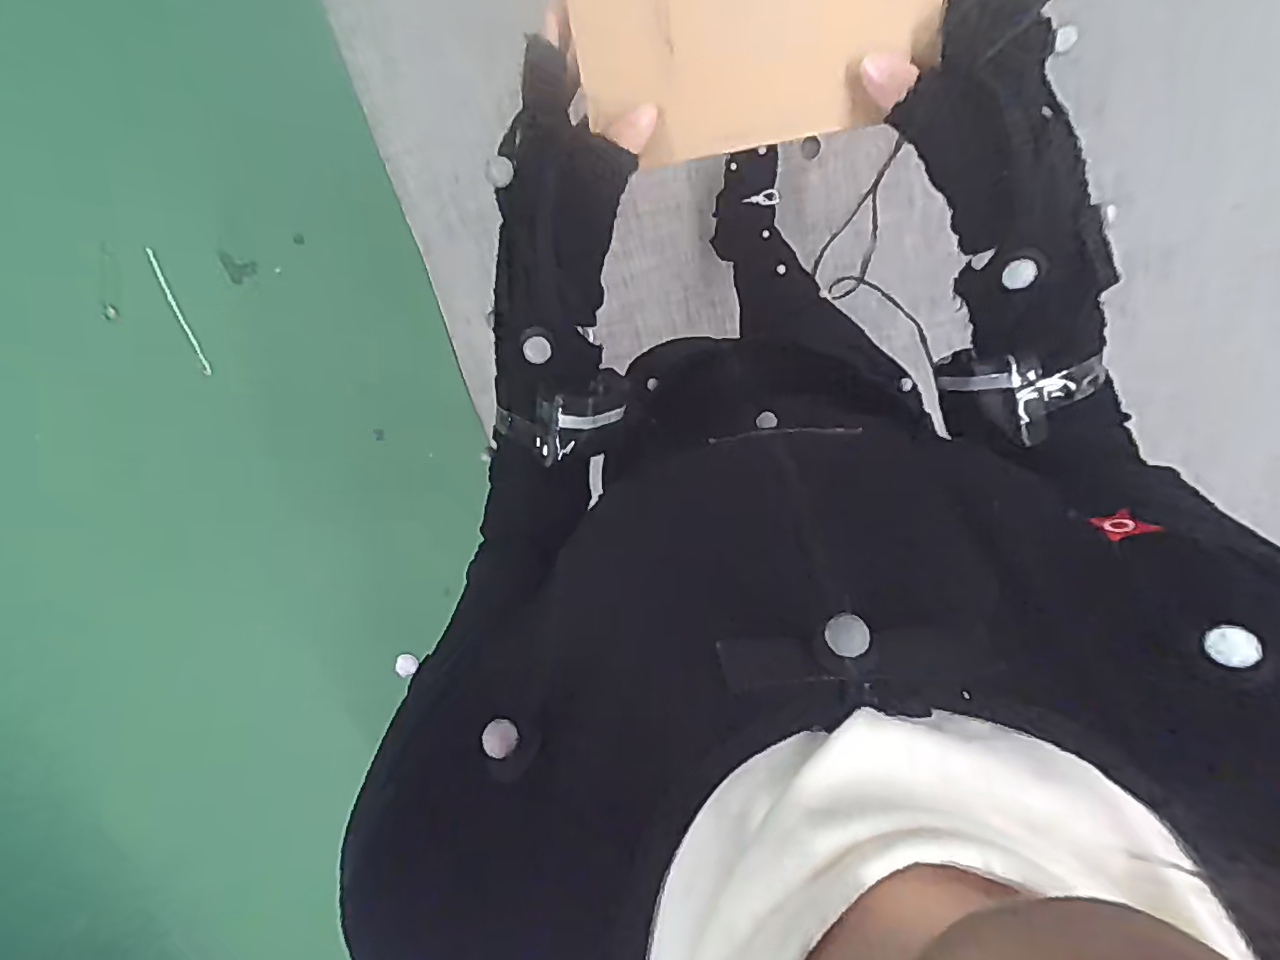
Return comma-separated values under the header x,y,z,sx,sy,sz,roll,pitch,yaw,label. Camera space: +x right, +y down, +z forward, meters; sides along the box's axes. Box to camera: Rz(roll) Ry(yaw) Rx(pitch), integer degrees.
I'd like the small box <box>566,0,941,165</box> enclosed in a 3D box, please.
x,y,z,sx,sy,sz,roll,pitch,yaw,label
0.050,-0.292,0.306,0.179,0.176,0.168,-8,122,7,small box
